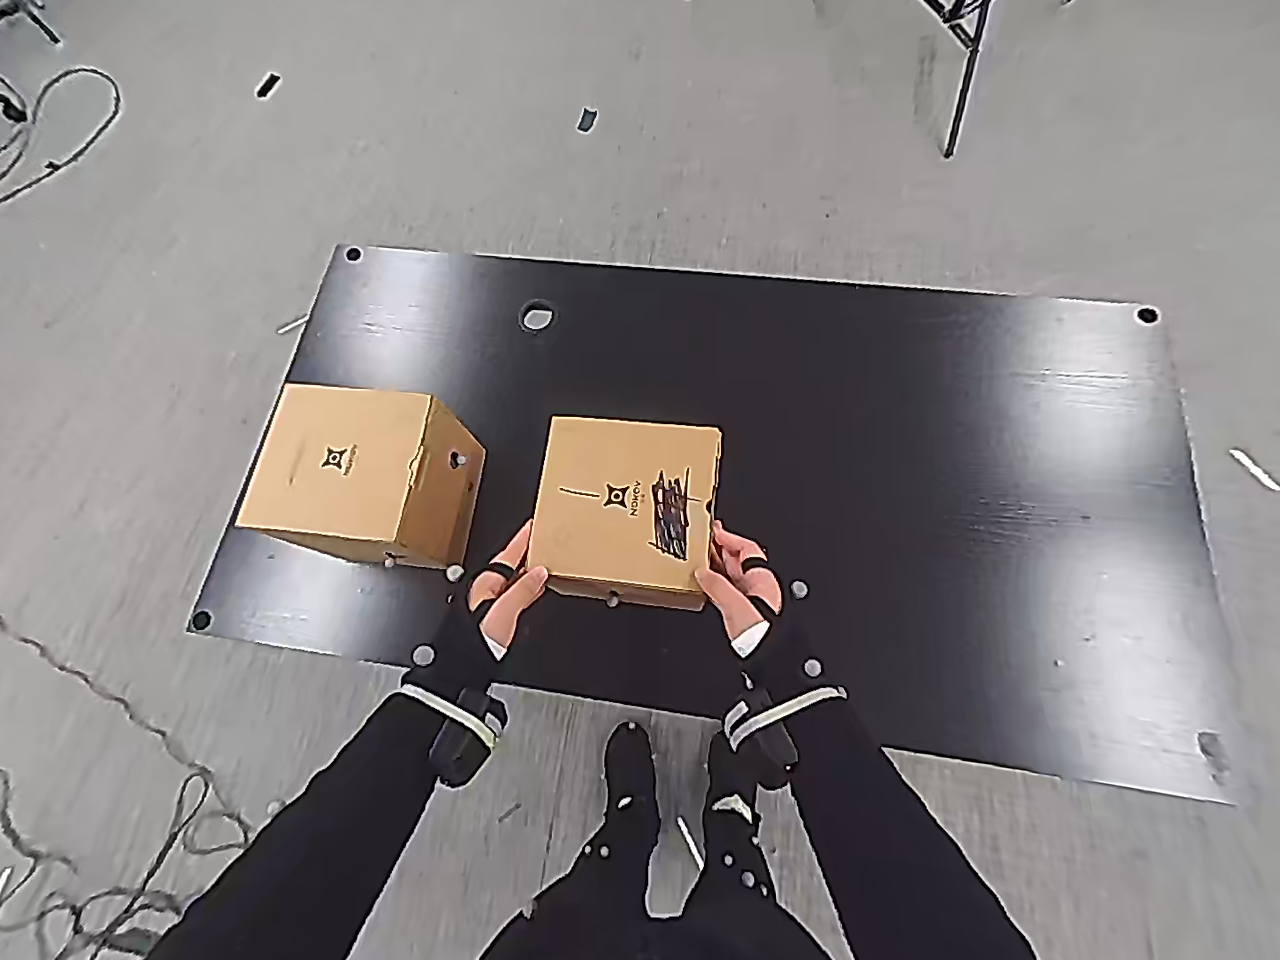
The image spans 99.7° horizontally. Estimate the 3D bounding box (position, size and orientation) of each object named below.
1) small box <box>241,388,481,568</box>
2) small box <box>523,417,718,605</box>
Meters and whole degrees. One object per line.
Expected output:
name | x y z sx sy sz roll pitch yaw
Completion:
small box | -0.308 0.007 0.643 0.179 0.176 0.168 4 71 6
small box | -0.010 0.044 0.606 0.179 0.176 0.168 5 72 7
